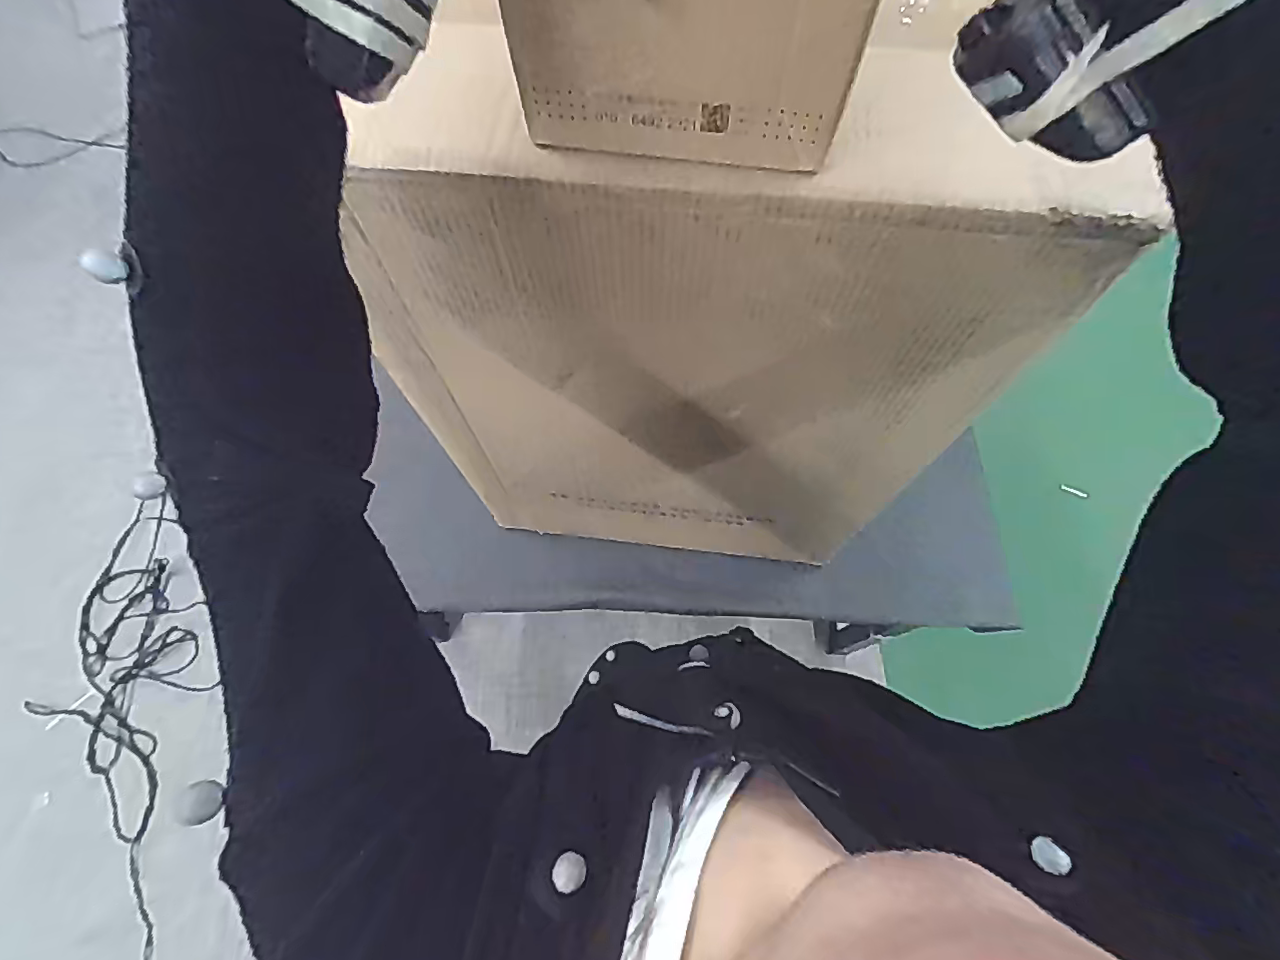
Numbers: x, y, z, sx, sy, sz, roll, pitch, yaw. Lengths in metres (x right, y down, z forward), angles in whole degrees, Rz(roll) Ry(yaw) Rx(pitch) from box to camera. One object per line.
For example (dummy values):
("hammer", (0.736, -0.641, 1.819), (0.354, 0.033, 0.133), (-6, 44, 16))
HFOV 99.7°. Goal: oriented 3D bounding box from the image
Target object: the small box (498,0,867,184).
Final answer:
("small box", (0.029, -0.278, 0.264), (0.168, 0.176, 0.179), (9, 67, 5))
